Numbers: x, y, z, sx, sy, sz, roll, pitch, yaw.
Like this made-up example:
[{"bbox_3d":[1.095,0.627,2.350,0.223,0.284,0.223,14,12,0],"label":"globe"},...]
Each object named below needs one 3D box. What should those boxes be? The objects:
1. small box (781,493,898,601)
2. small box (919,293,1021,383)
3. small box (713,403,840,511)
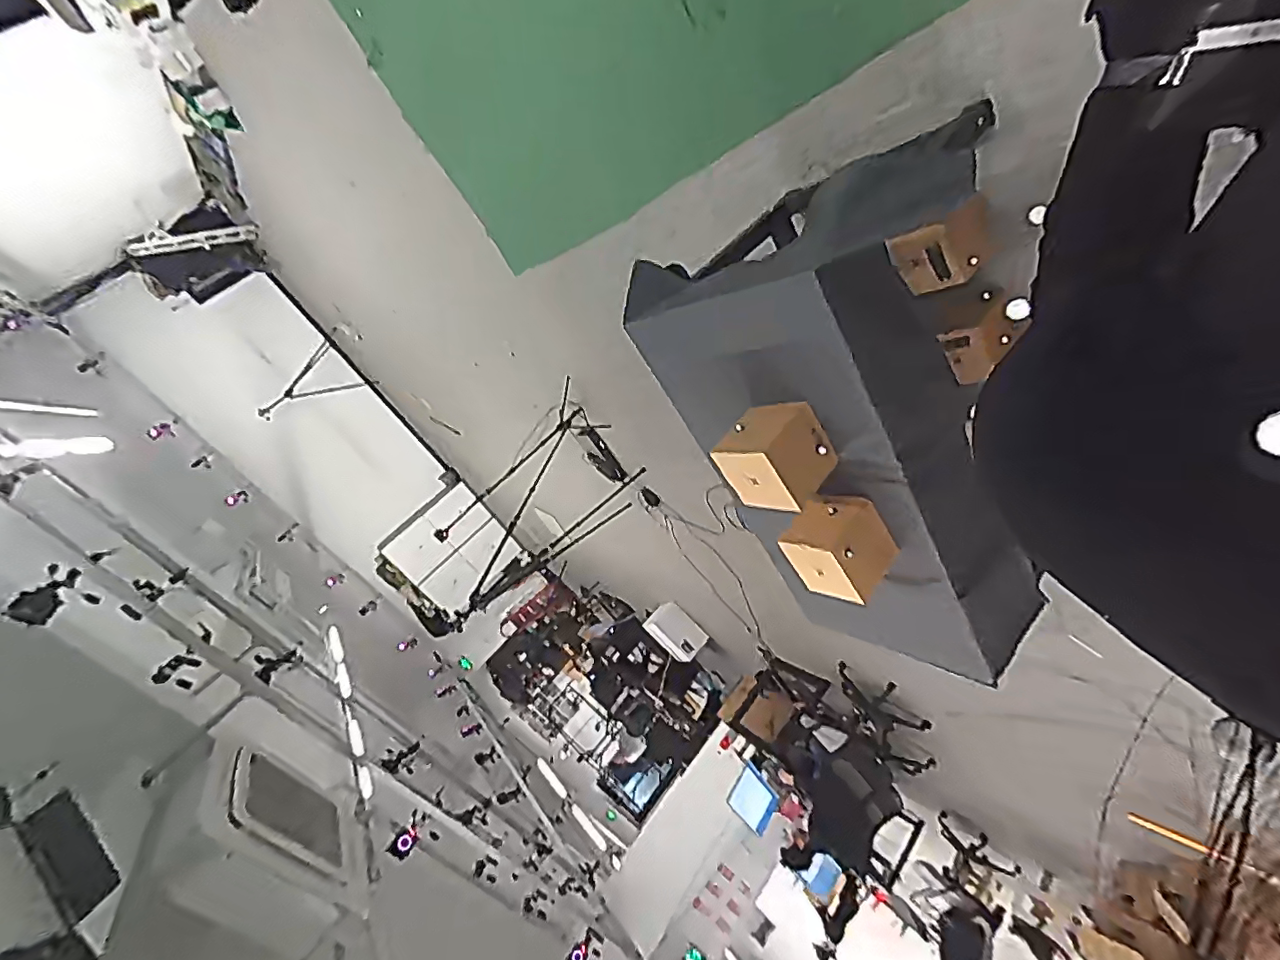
[{"bbox_3d":[0.477,0.153,1.283,0.179,0.176,0.168,52,158,-20],"label":"small box"},{"bbox_3d":[0.912,-0.393,1.492,0.179,0.176,0.168,52,158,-24],"label":"small box"},{"bbox_3d":[0.304,-0.055,1.199,0.168,0.176,0.179,52,158,-23],"label":"small box"}]
